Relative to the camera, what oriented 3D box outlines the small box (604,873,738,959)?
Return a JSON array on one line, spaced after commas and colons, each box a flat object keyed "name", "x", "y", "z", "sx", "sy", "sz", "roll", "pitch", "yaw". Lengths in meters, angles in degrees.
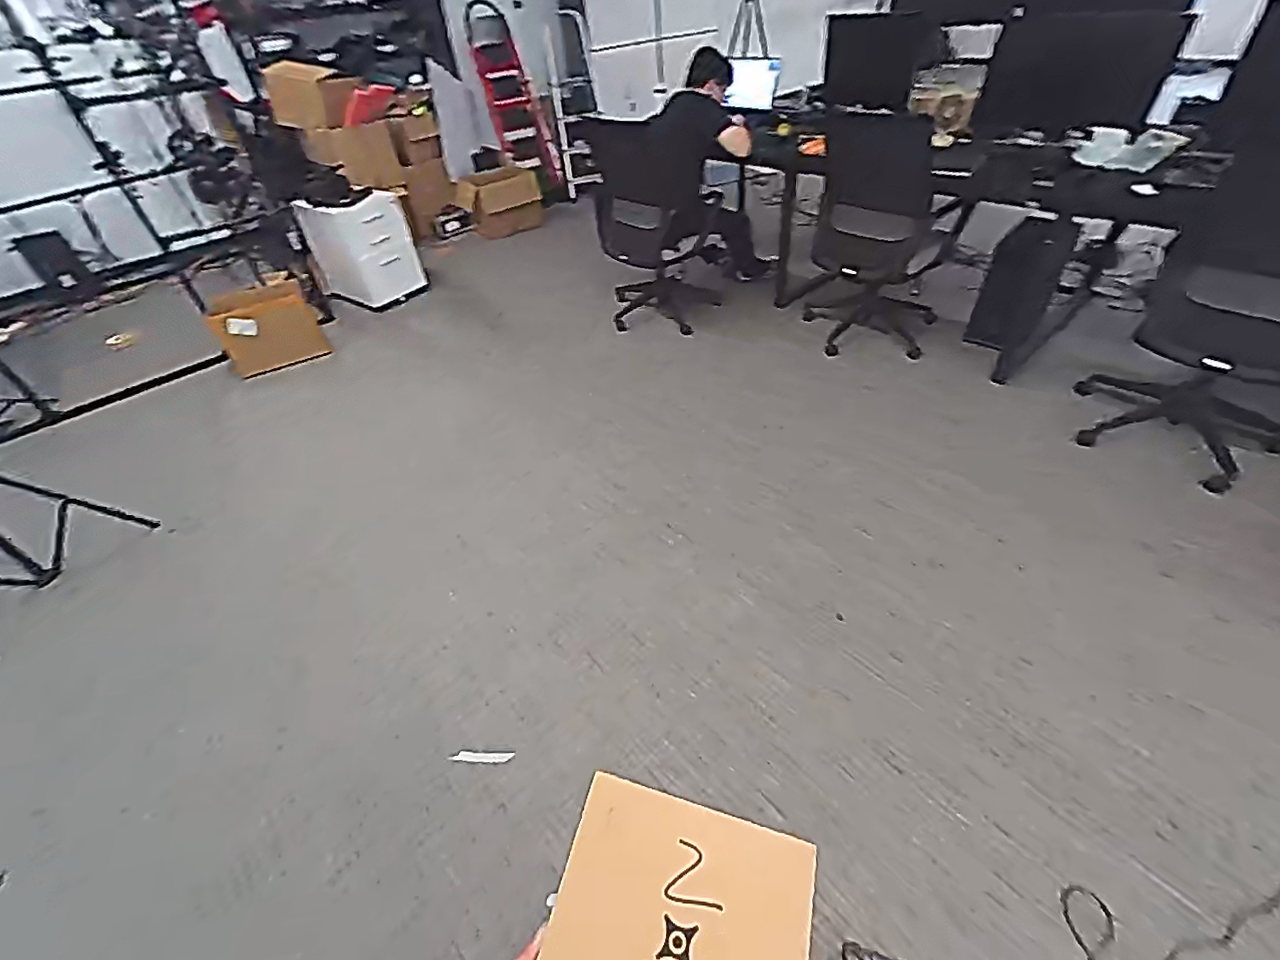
[{"name": "small box", "x": 0.062, "y": 0.872, "z": 0.978, "sx": 0.179, "sy": 0.176, "sz": 0.168, "roll": -35, "pitch": 49, "yaw": -28}]
